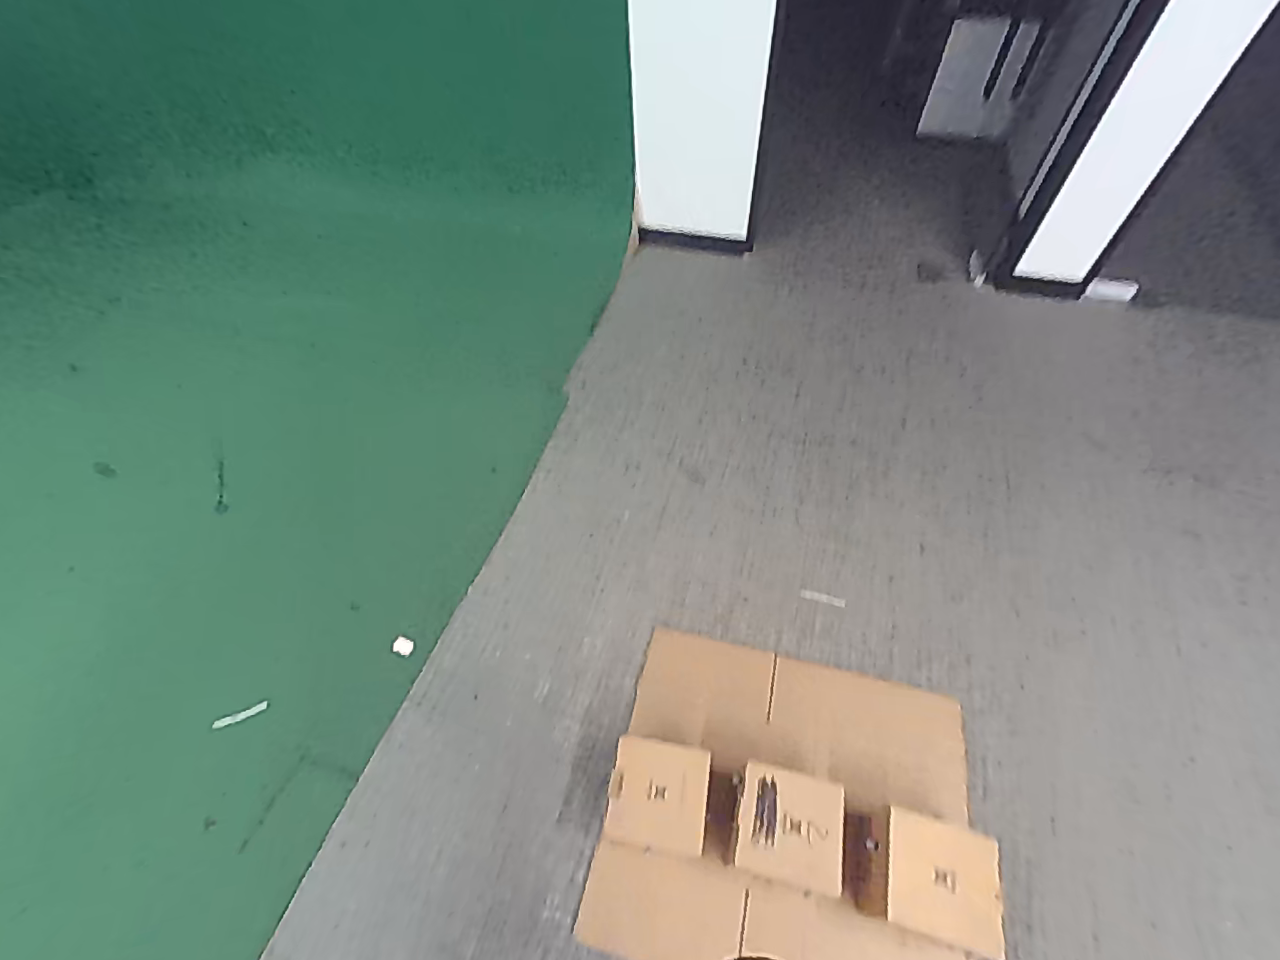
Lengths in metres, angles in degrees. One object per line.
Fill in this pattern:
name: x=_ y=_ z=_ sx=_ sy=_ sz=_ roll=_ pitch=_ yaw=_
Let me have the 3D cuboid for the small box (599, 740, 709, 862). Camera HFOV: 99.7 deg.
small box: x=0.030 y=0.612 z=1.024 sx=0.179 sy=0.176 sz=0.168 roll=8 pitch=55 yaw=7

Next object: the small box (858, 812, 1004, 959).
small box: x=0.489 y=0.702 z=0.935 sx=0.179 sy=0.176 sz=0.168 roll=13 pitch=55 yaw=11
